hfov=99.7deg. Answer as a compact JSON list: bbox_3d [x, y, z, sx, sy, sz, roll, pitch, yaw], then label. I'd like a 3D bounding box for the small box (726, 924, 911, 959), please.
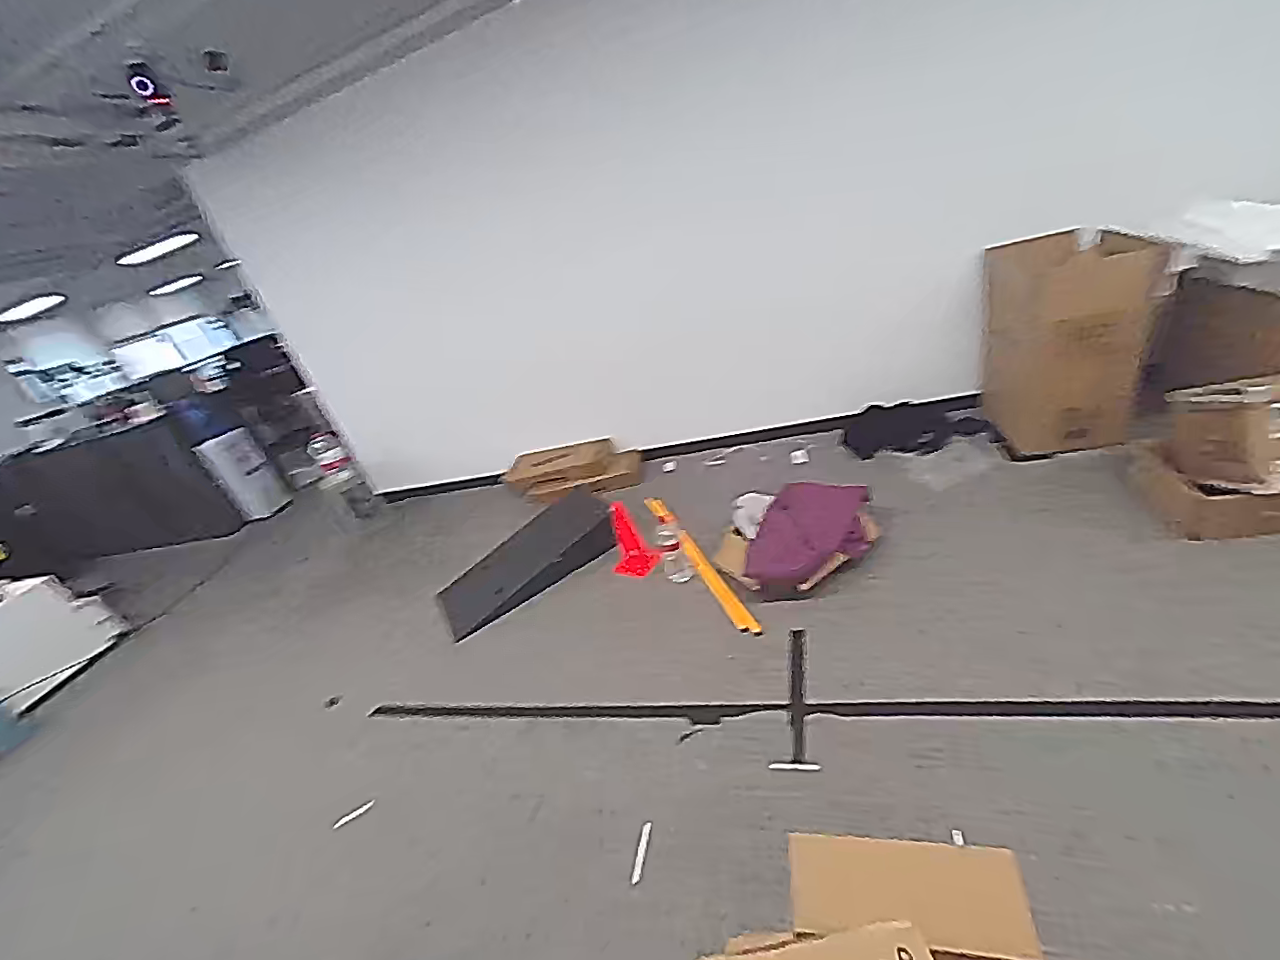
[{"bbox_3d":[0.137,0.467,0.390,0.179,0.176,0.168,-13,34,-1],"label":"small box"}]
